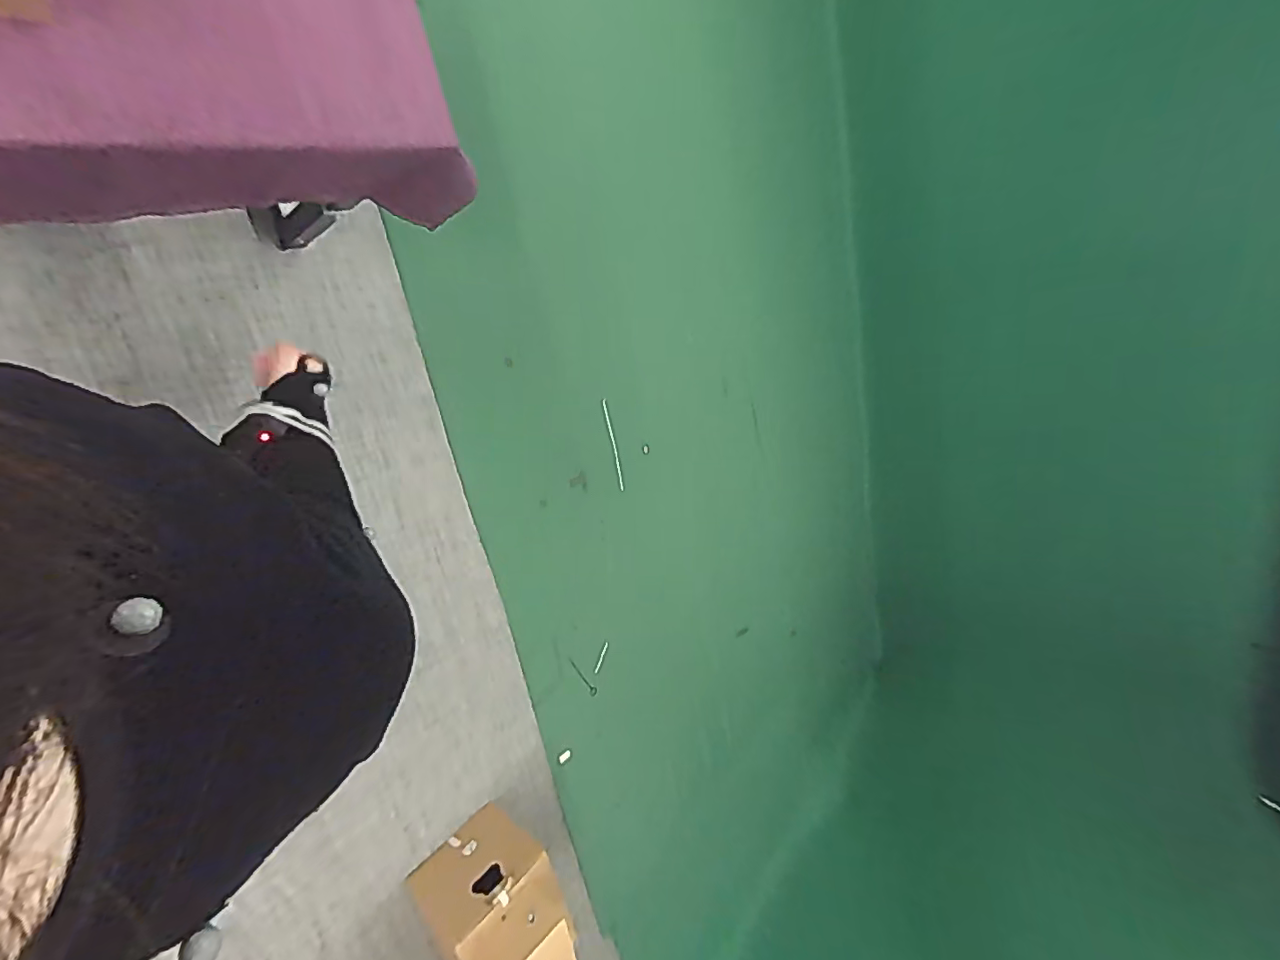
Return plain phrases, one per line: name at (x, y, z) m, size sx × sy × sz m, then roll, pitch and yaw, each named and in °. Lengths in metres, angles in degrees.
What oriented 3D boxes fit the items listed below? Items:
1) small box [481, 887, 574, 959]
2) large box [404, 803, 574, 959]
small box at (-0.308, 1.261, 1.469) m, size 0.168 × 0.176 × 0.179 m, roll -25°, pitch 113°, yaw -42°
large box at (-0.461, 1.321, 1.672) m, size 0.320 × 0.320 × 0.408 m, roll -30°, pitch 115°, yaw -42°
